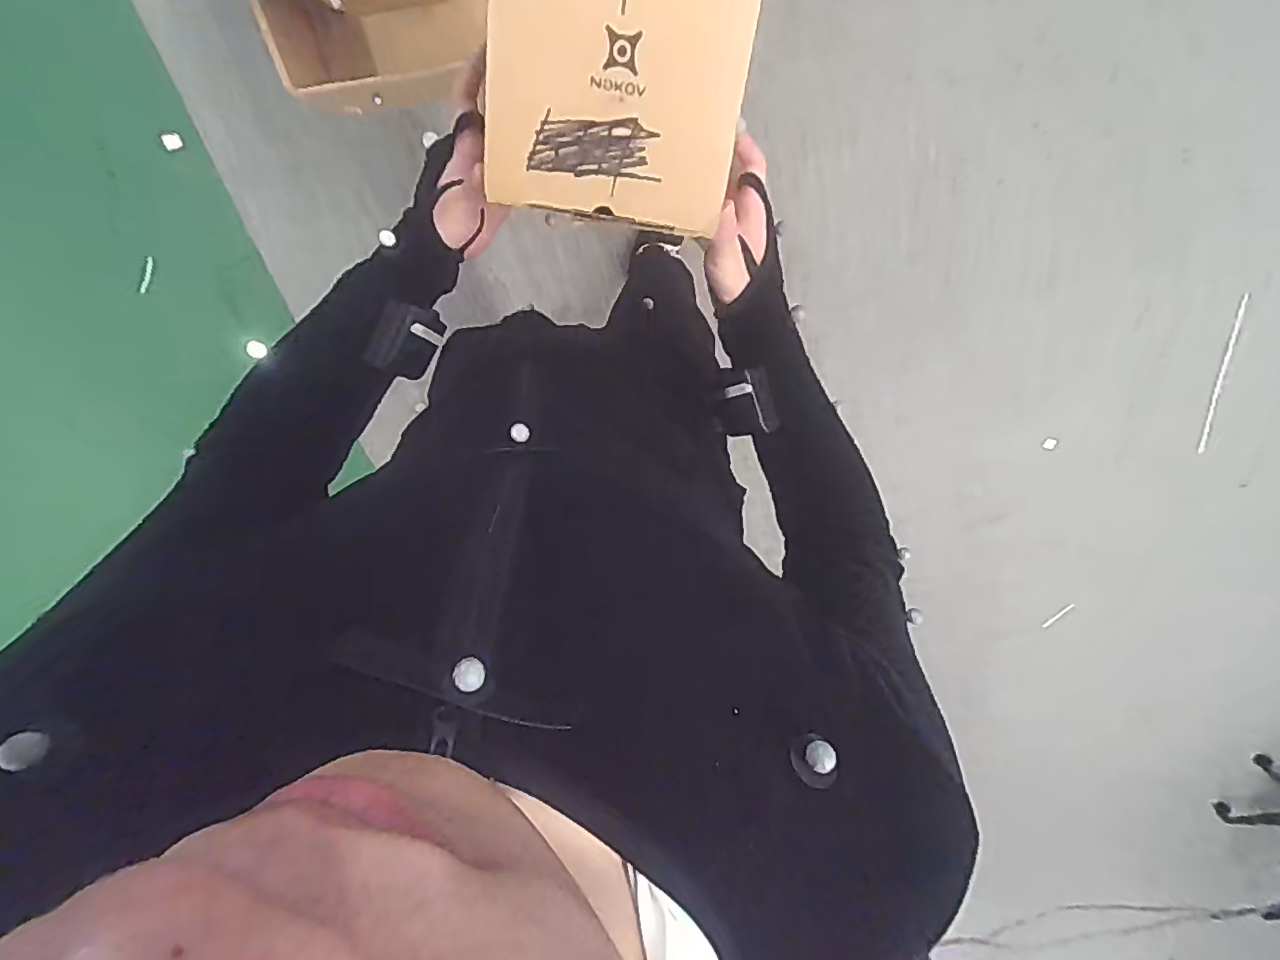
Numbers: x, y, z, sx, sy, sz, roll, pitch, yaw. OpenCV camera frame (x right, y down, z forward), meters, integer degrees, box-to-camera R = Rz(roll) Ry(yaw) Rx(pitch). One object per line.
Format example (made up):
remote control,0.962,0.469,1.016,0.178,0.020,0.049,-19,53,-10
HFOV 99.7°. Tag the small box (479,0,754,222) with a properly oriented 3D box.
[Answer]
small box,-0.017,-0.302,0.406,0.168,0.176,0.179,6,116,-5

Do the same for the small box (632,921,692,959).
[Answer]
small box,0.074,1.550,1.728,0.168,0.176,0.179,-12,118,9
